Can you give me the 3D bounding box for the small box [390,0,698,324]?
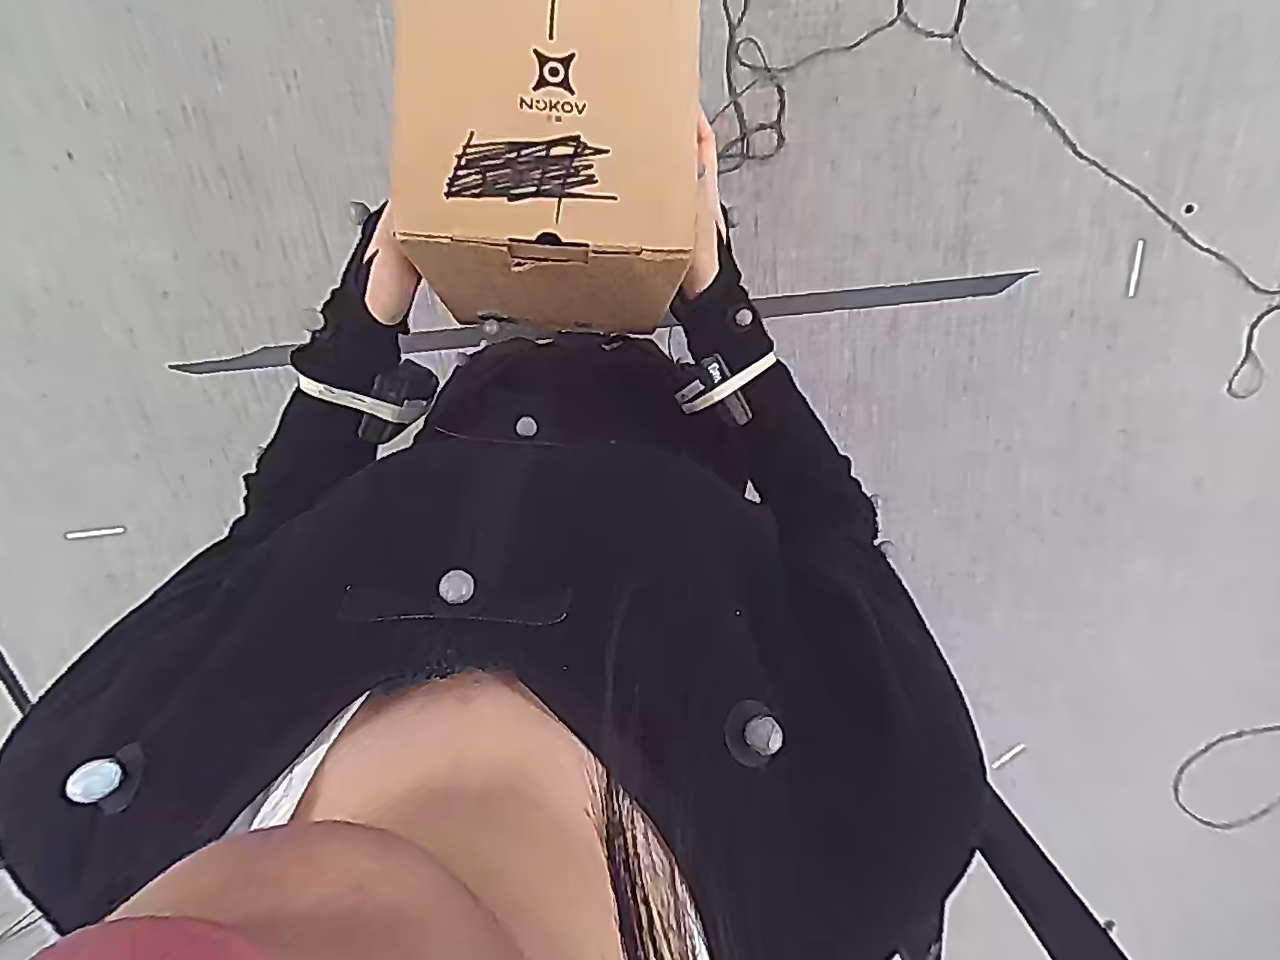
[{"bbox_3d":[-0.058,-0.218,0.374,0.168,0.176,0.179,1,89,-7],"label":"small box"}]
